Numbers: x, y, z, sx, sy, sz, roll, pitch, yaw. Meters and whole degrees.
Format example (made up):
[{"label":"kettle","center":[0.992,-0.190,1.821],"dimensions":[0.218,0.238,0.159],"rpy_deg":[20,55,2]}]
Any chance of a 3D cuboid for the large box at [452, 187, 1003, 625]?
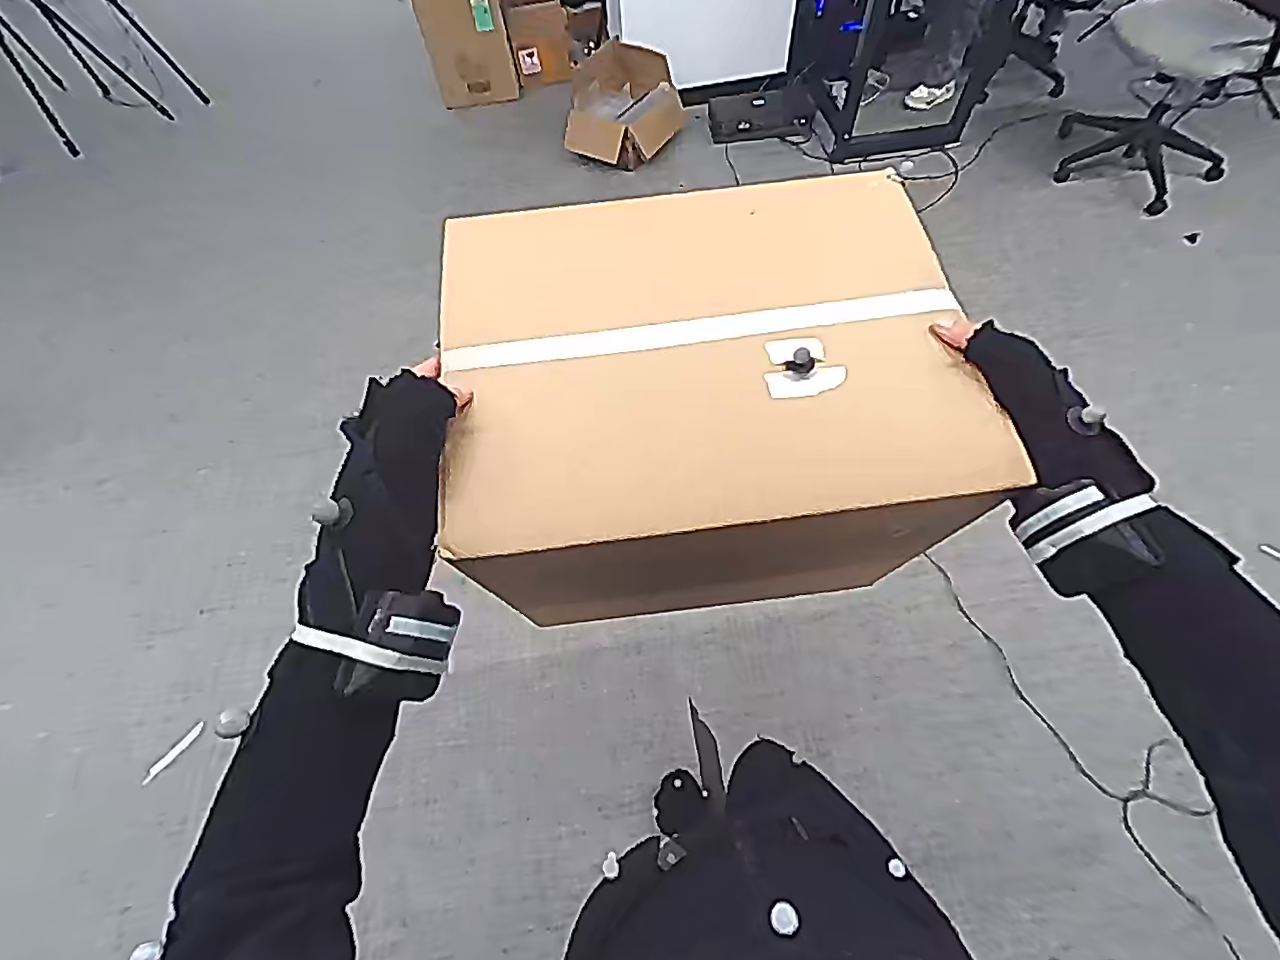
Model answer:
[{"label":"large box","center":[0.049,-0.050,0.575],"dimensions":[0.408,0.320,0.320],"rpy_deg":[-7,67,-1]}]
